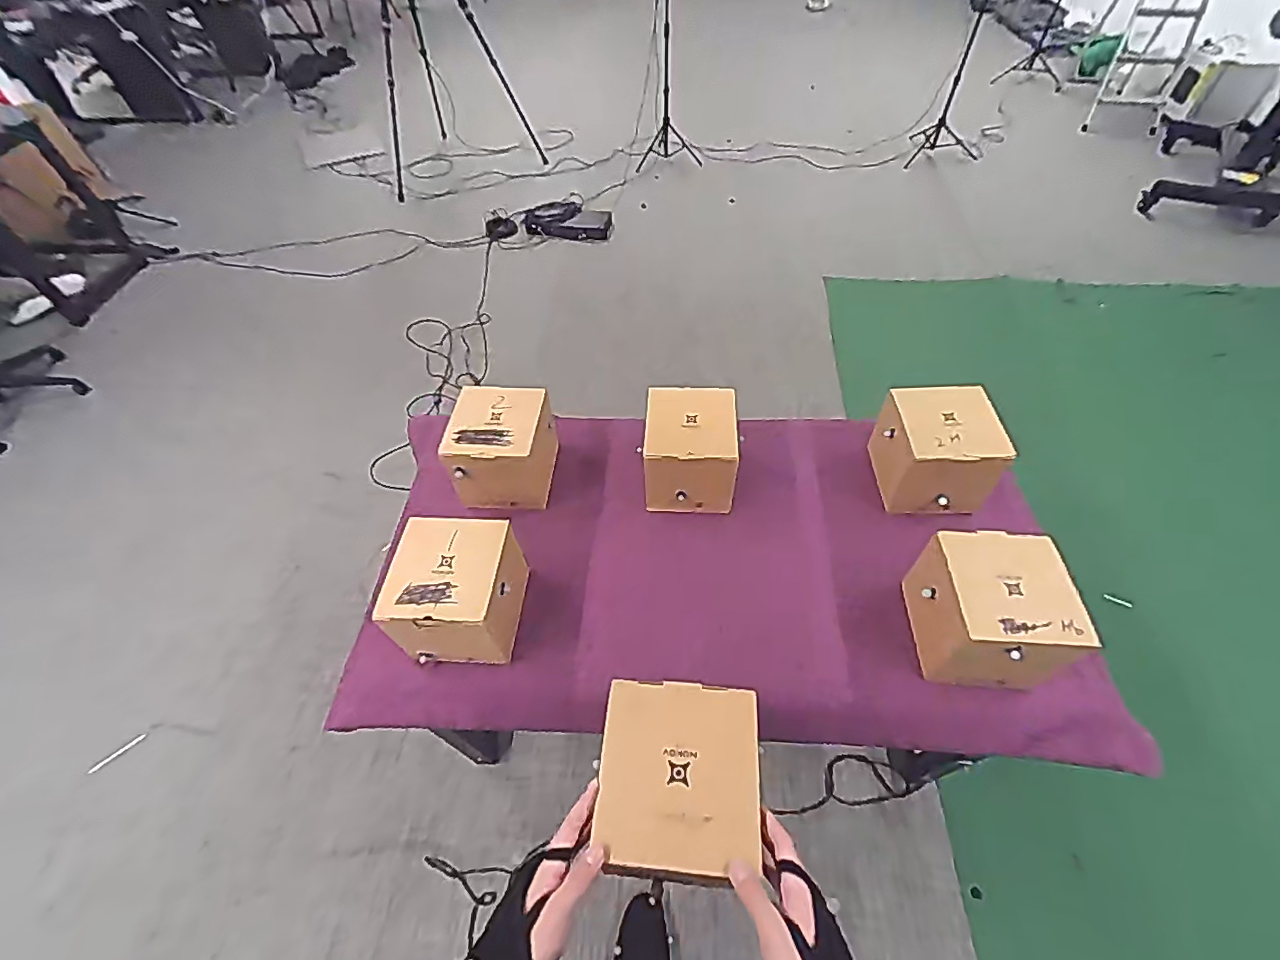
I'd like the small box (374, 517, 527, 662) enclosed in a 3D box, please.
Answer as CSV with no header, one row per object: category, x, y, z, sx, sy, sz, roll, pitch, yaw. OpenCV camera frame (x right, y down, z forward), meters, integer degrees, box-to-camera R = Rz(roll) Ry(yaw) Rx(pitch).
small box,-0.287,0.179,0.869,0.168,0.176,0.179,2,51,3

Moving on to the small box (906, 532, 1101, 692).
small box,0.528,0.201,0.821,0.168,0.176,0.179,2,50,5

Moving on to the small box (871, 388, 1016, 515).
small box,0.552,-0.052,1.016,0.168,0.176,0.179,-1,53,5

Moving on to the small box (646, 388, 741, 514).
small box,0.098,-0.055,1.042,0.168,0.176,0.179,2,53,3
